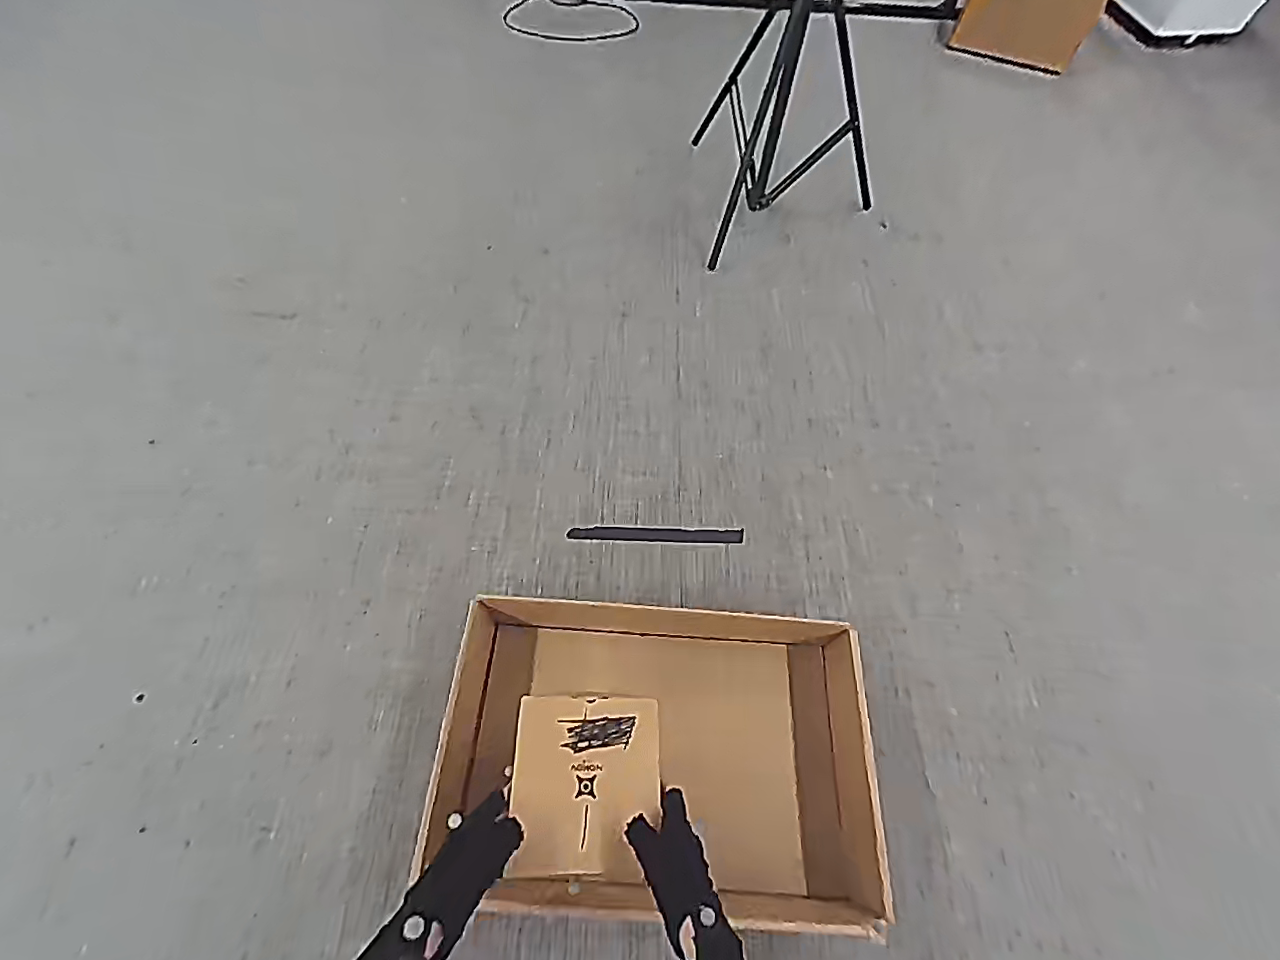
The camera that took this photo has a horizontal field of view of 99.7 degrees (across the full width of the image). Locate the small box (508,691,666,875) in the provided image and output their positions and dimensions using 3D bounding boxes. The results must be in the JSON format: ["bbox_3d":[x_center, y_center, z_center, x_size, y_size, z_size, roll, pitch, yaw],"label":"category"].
[{"bbox_3d":[-0.065,0.375,0.665,0.168,0.176,0.179,4,53,-6],"label":"small box"}]
